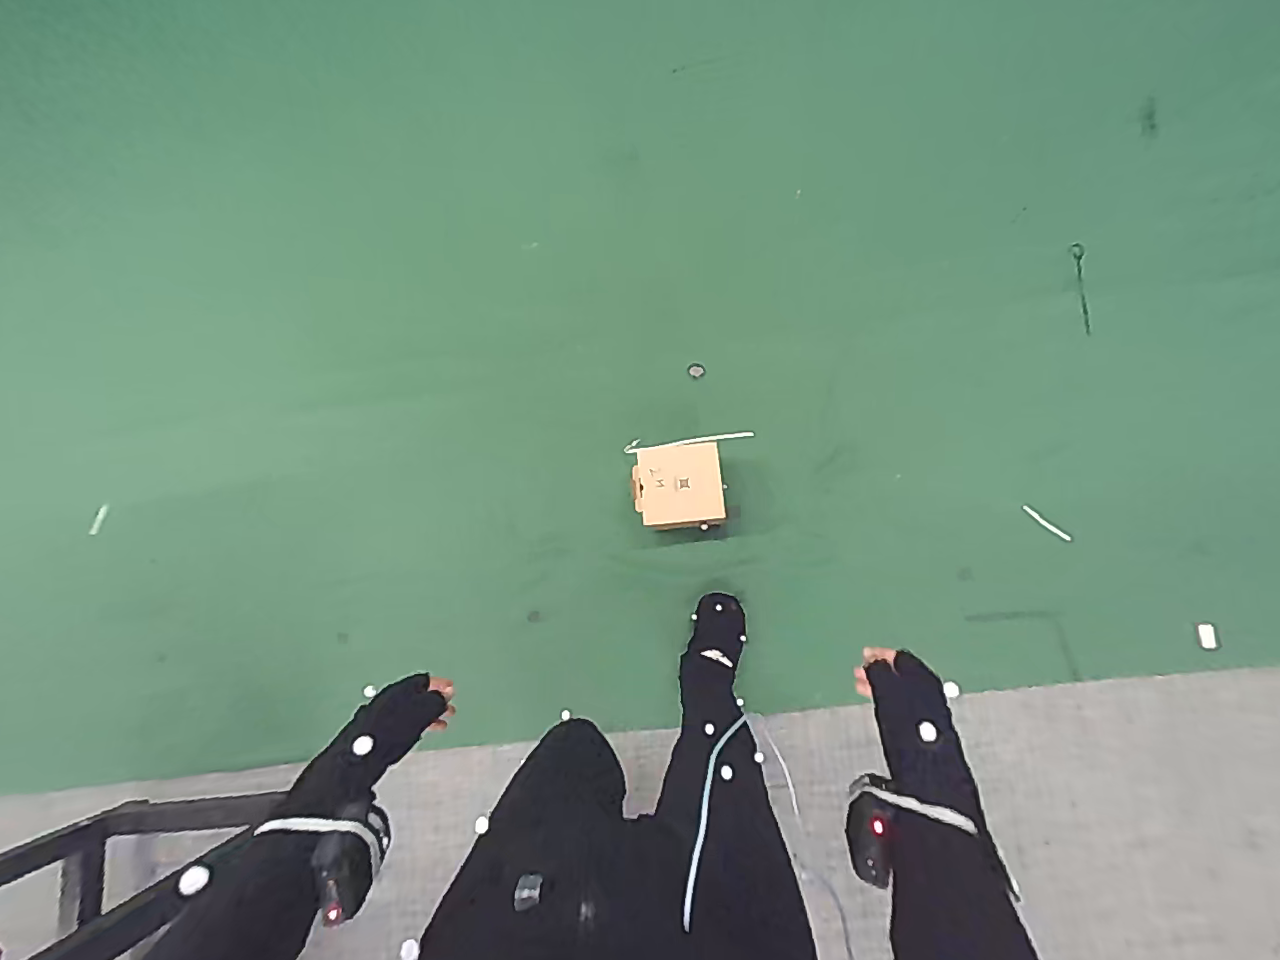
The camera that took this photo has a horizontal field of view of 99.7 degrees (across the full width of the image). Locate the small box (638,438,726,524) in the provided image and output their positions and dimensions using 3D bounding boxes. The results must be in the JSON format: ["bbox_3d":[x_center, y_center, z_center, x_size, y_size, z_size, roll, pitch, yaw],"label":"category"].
[{"bbox_3d":[0.094,0.008,1.222,0.179,0.176,0.168,-6,81,5],"label":"small box"}]
